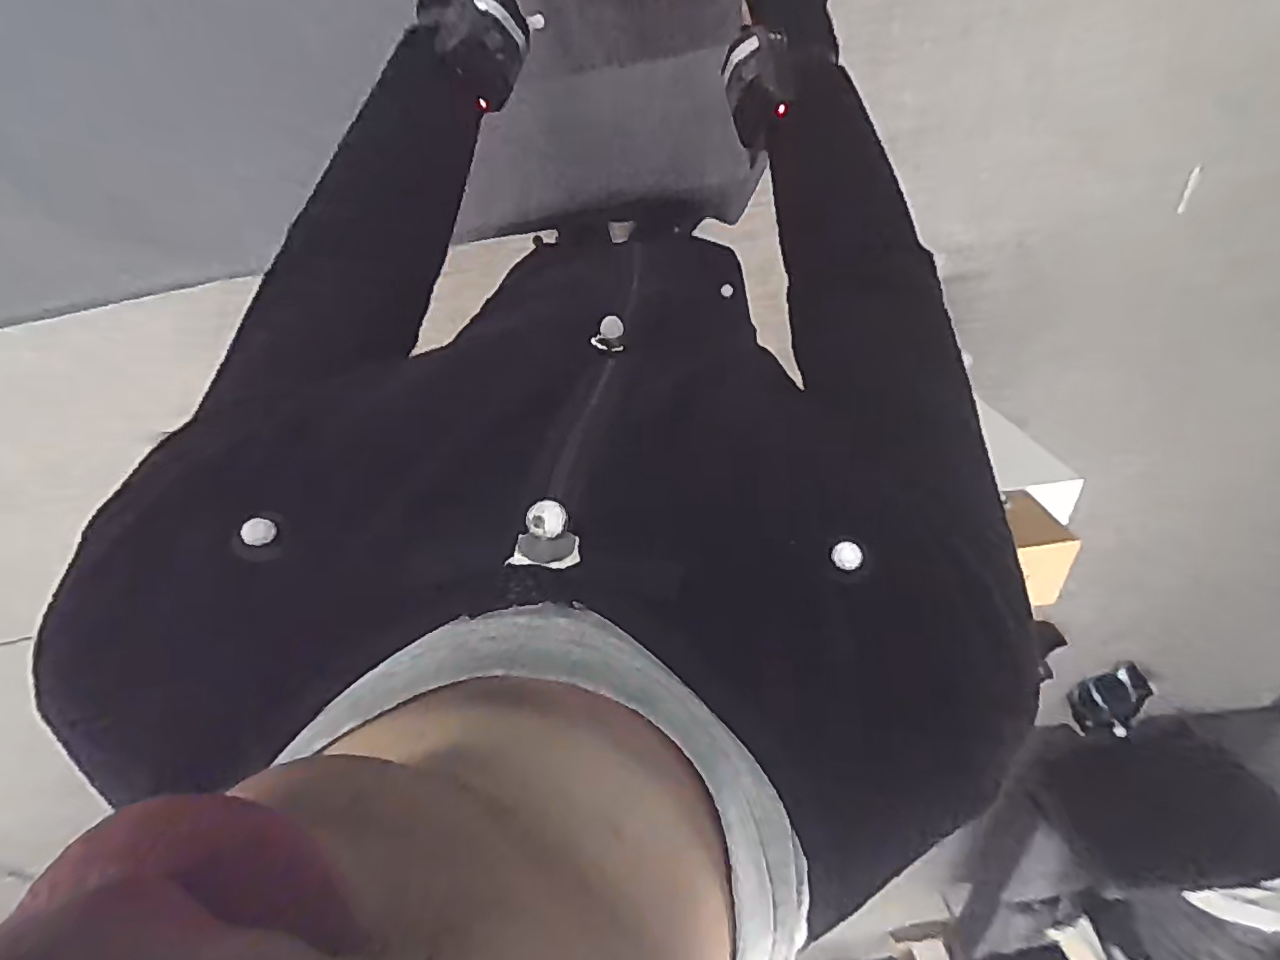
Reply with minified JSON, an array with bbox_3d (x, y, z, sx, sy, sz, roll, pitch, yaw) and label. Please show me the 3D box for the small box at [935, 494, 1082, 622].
[{"bbox_3d":[0.728,0.155,1.092,0.168,0.176,0.179,-11,123,0],"label":"small box"}]
